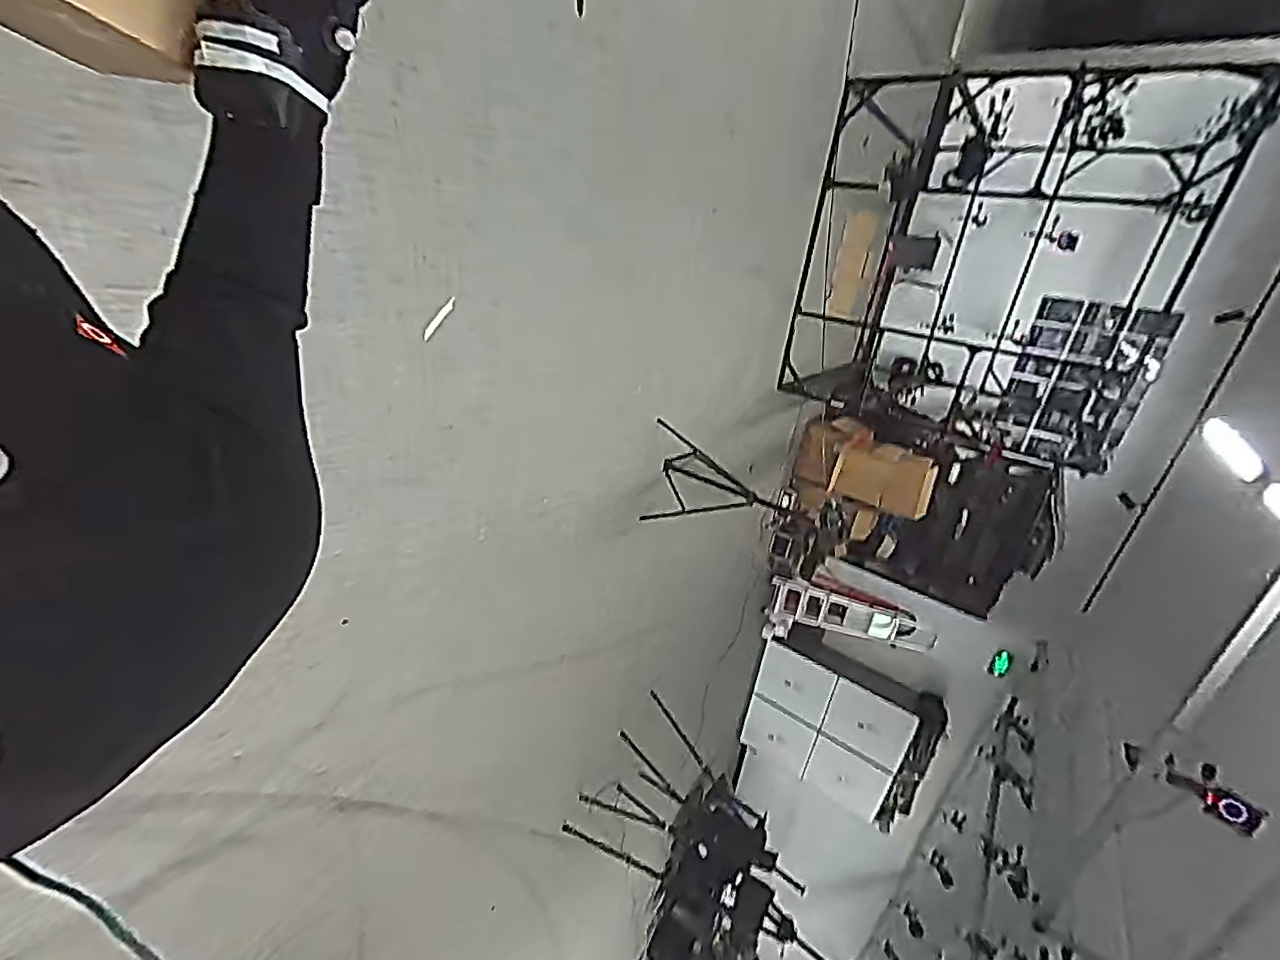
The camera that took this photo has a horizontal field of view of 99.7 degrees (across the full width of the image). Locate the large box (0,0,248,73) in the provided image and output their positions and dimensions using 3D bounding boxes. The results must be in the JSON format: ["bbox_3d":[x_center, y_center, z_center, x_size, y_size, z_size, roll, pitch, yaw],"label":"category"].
[{"bbox_3d":[-0.465,-0.488,0.262,0.408,0.320,0.320,1,113,-59],"label":"large box"}]
